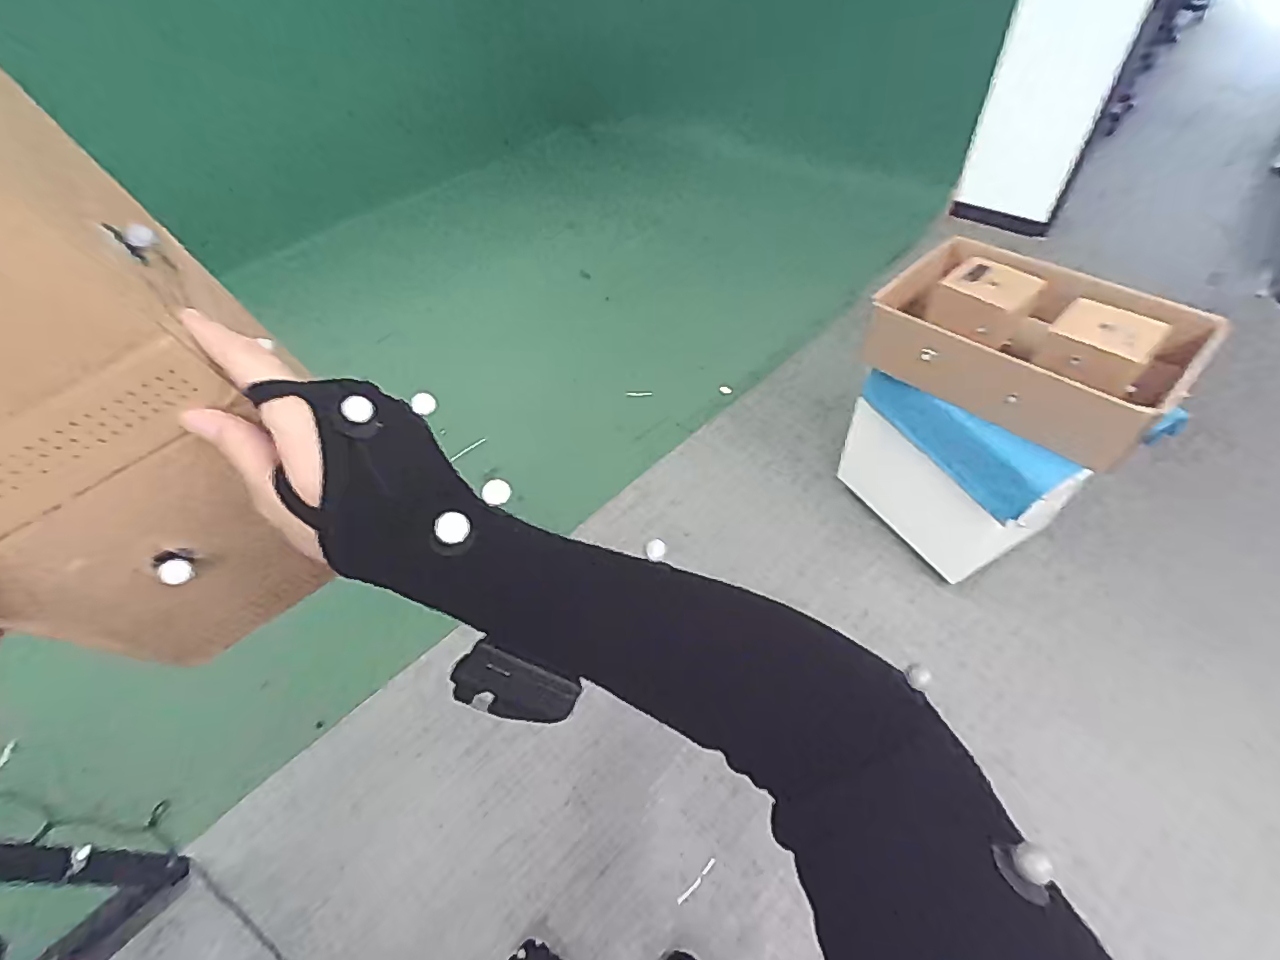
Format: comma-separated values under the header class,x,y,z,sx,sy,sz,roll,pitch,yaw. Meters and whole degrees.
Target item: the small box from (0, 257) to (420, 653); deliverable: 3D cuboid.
class,x,y,z,sx,sy,sz,roll,pitch,yaw
small box,-0.292,-0.007,0.373,0.179,0.176,0.168,-35,62,-11
